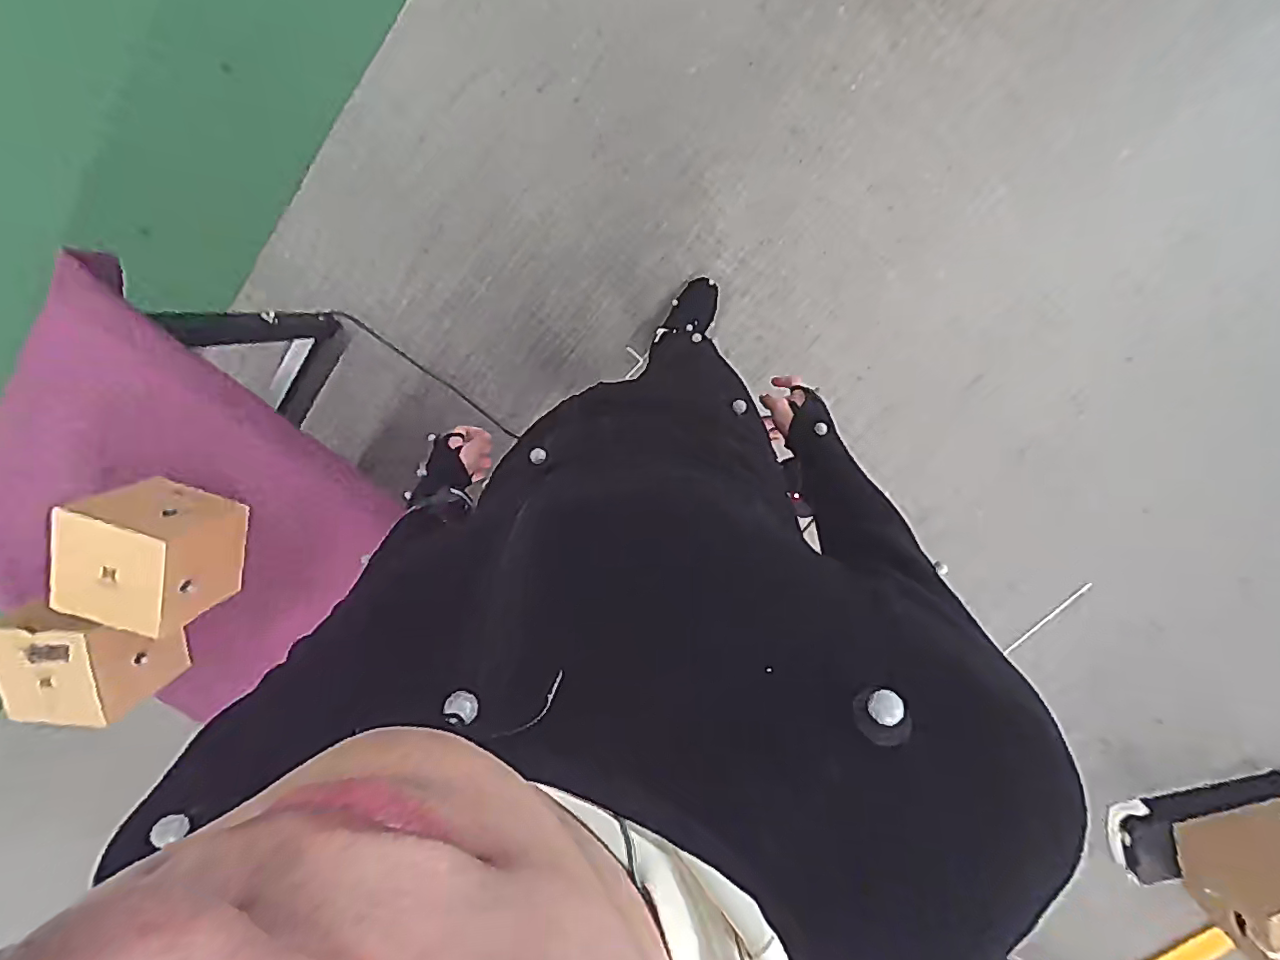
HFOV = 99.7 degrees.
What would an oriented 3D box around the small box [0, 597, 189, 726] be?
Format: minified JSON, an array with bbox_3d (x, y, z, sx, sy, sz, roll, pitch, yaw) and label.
[{"bbox_3d":[-0.927,0.285,0.923,0.168,0.176,0.179,4,108,0],"label":"small box"}]

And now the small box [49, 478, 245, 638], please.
[{"bbox_3d":[-0.776,0.115,0.868,0.168,0.176,0.179,18,108,-4],"label":"small box"}]
